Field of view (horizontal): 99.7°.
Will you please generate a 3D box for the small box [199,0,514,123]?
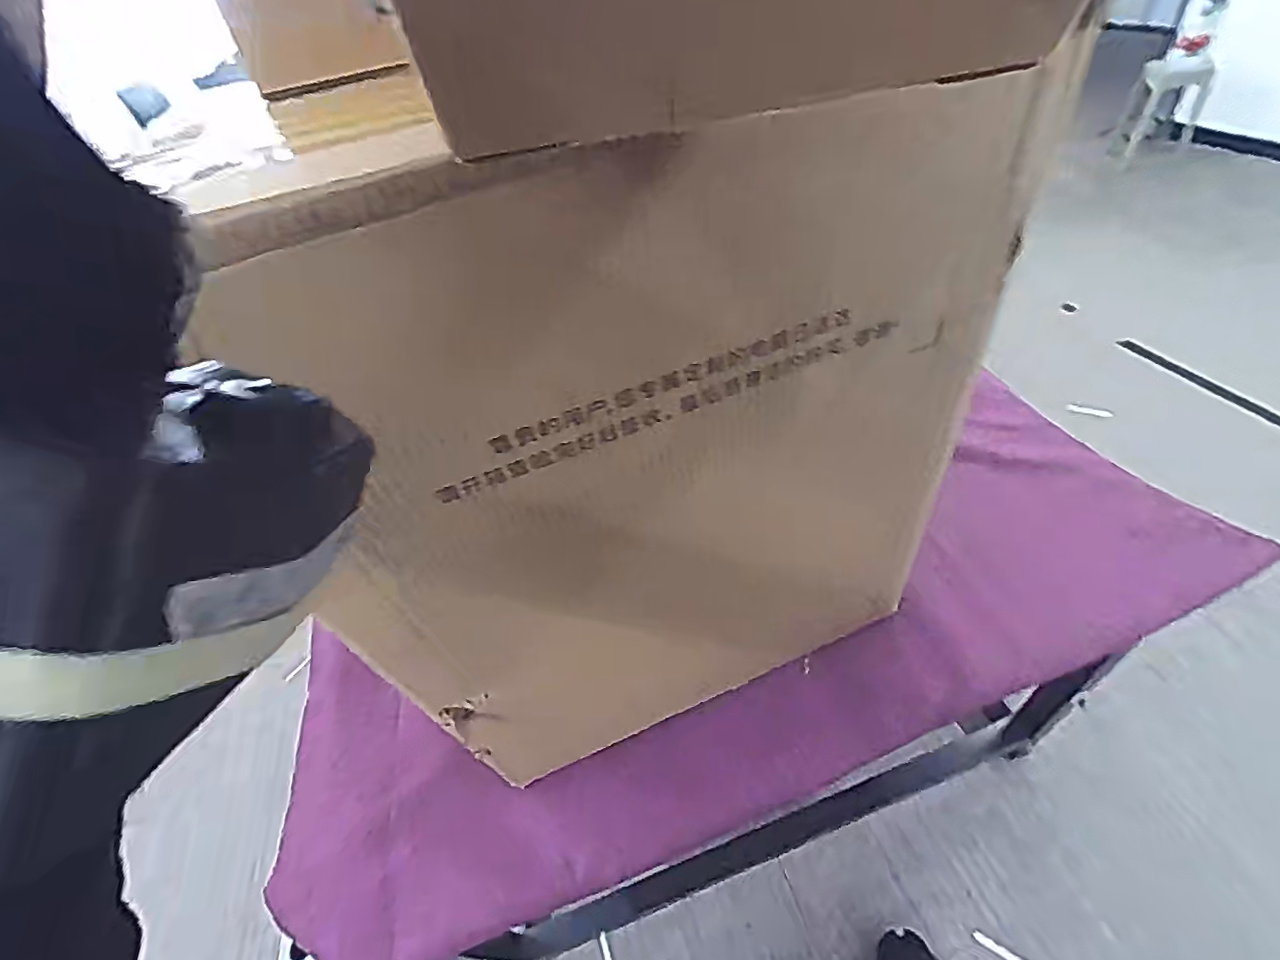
[{"bbox_3d":[-0.206,-0.368,0.363,0.179,0.176,0.168,-20,45,-8],"label":"small box"}]
